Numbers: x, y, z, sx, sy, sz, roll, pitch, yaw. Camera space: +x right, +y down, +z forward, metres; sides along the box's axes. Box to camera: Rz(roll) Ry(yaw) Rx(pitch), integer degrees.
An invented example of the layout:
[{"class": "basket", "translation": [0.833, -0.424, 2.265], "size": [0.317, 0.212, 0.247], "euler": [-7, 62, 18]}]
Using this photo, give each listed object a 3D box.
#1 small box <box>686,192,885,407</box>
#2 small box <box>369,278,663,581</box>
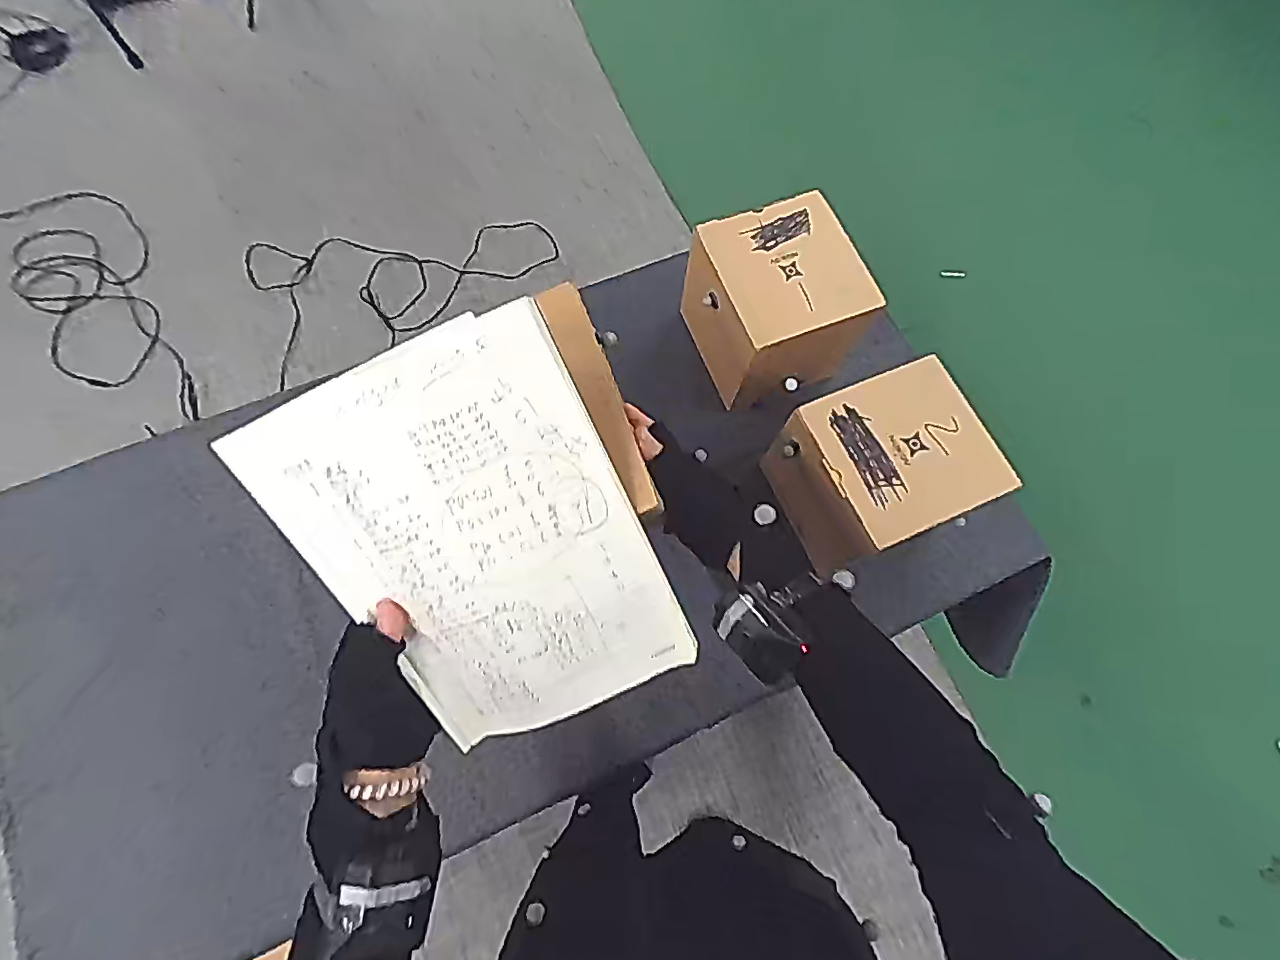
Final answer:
[{"class": "small box", "translation": [0.168, -0.222, 0.695], "size": [0.168, 0.176, 0.179], "euler": [-20, 75, -7]}, {"class": "small box", "translation": [-0.086, -0.027, 0.457], "size": [0.168, 0.176, 0.179], "euler": [-22, 79, 2]}]
